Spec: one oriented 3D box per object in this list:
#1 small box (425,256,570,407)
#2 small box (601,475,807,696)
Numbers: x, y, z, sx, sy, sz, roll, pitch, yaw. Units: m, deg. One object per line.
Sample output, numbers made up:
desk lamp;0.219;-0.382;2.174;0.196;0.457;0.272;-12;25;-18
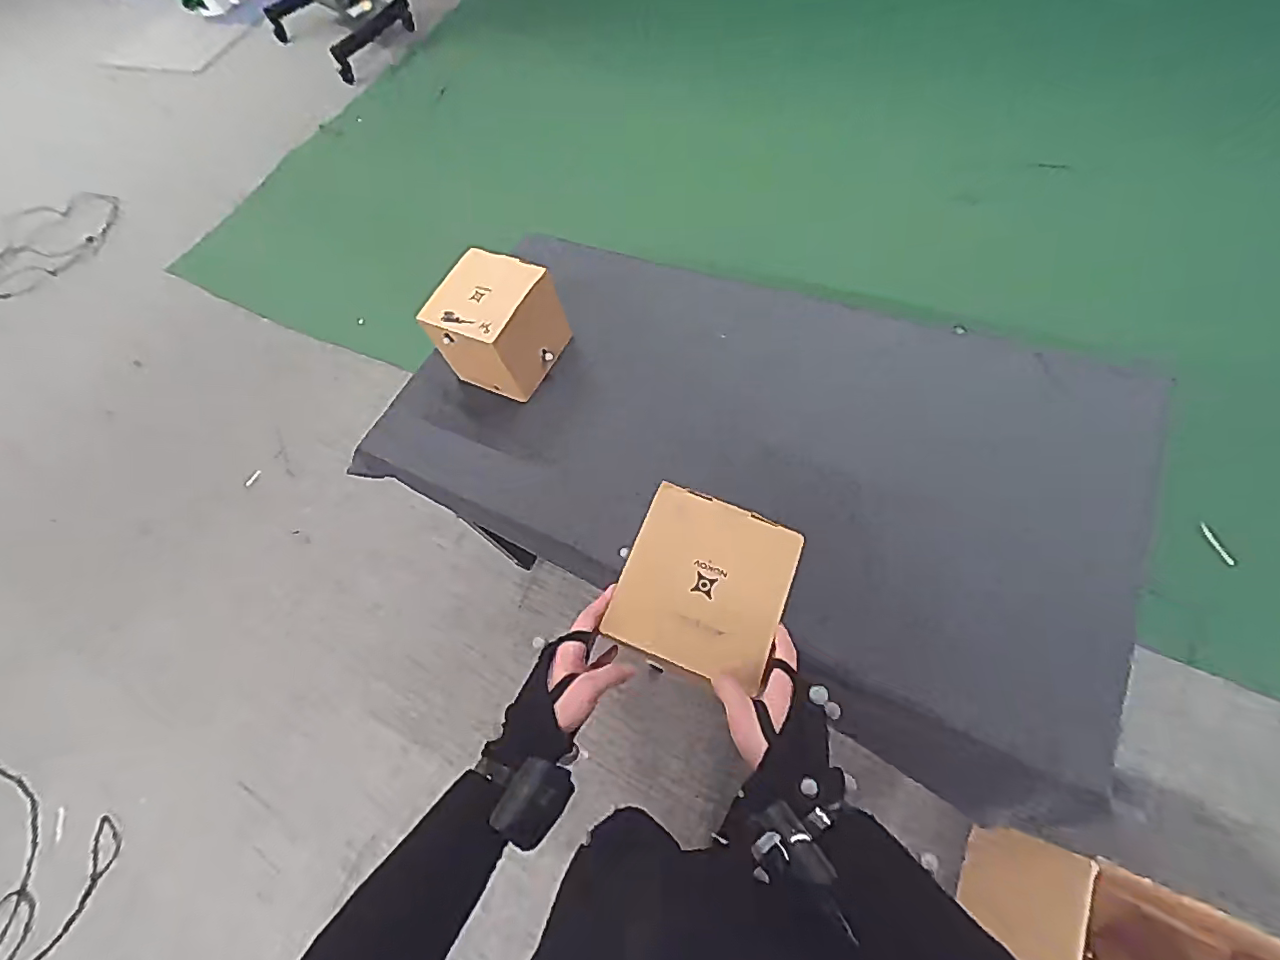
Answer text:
small box;-0.245;-0.268;0.988;0.168;0.176;0.179;23;68;20
small box;0.064;0.126;0.611;0.168;0.176;0.179;21;69;7
